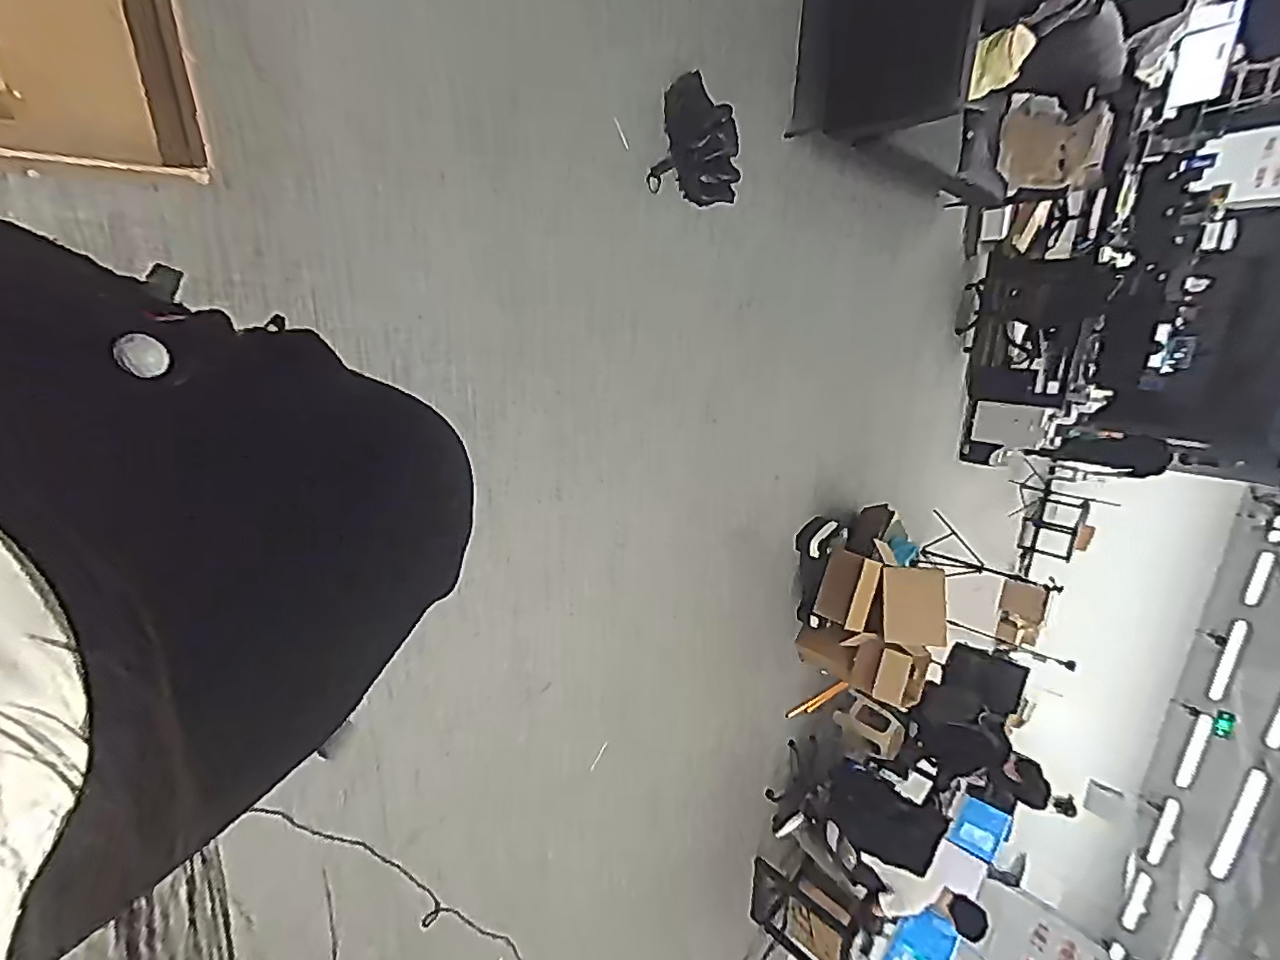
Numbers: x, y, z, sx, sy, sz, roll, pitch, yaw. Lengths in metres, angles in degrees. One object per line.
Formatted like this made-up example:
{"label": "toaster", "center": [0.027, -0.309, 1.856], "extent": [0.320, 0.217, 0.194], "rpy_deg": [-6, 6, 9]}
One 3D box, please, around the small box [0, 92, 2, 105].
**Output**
{"label": "small box", "center": [-1.025, -0.631, 0.738], "extent": [0.179, 0.176, 0.168], "rpy_deg": [-14, 110, -42]}
